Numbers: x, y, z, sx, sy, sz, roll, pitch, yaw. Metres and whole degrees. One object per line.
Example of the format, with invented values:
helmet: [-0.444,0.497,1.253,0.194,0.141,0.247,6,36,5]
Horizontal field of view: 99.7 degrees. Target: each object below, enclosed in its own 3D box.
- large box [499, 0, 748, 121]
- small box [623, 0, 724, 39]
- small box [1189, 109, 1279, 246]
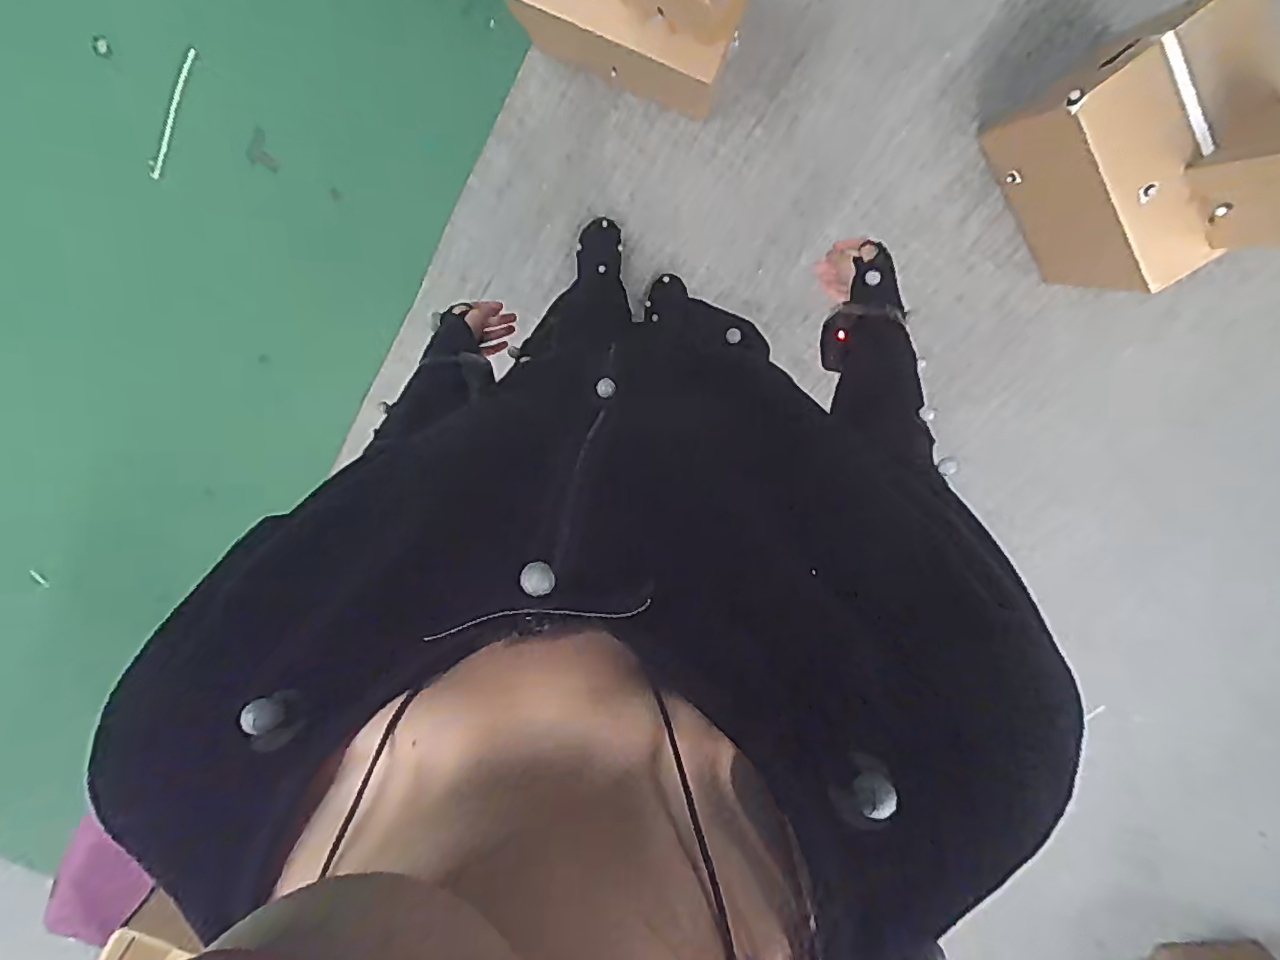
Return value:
large box: [0.004,-0.946,1.019,0.408,0.320,0.320,20,111,-4]
small box: [0.064,-0.807,0.807,0.179,0.176,0.168,24,112,-7]
small box: [1.076,-0.506,0.880,0.179,0.176,0.168,-34,107,14]
